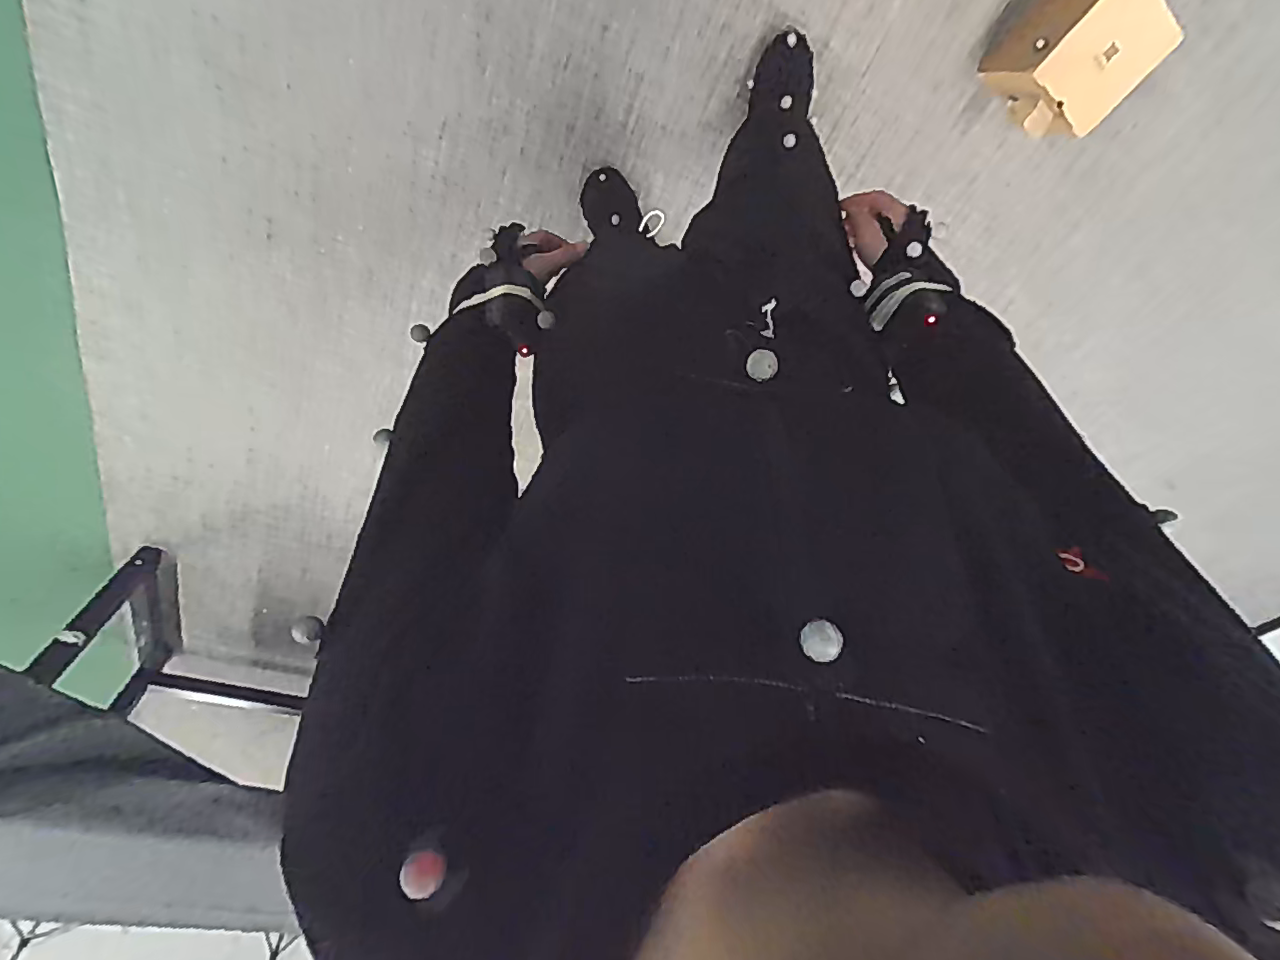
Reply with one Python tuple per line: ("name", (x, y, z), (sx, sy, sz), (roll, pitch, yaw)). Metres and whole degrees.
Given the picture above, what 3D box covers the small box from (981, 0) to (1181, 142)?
("small box", (0.746, -0.729, 0.933), (0.168, 0.176, 0.179), (28, 121, -24))
